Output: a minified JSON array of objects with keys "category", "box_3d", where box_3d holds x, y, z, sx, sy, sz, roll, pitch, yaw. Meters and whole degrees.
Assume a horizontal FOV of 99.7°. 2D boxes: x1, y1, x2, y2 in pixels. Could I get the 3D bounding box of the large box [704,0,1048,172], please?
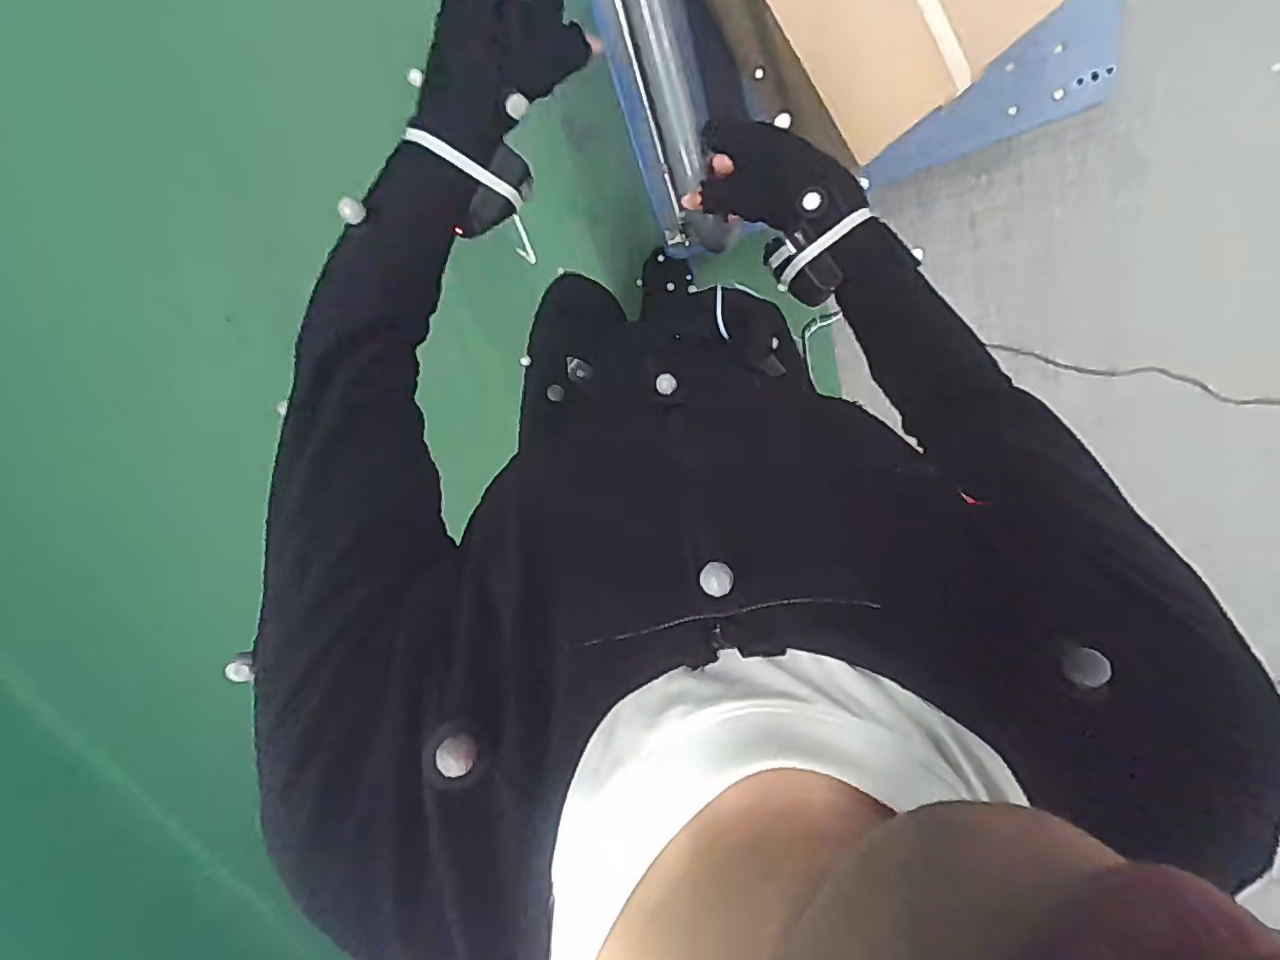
[{"category":"large box","box_3d":[0.316,-0.756,0.818,0.320,0.320,0.408,-35,109,17]}]
